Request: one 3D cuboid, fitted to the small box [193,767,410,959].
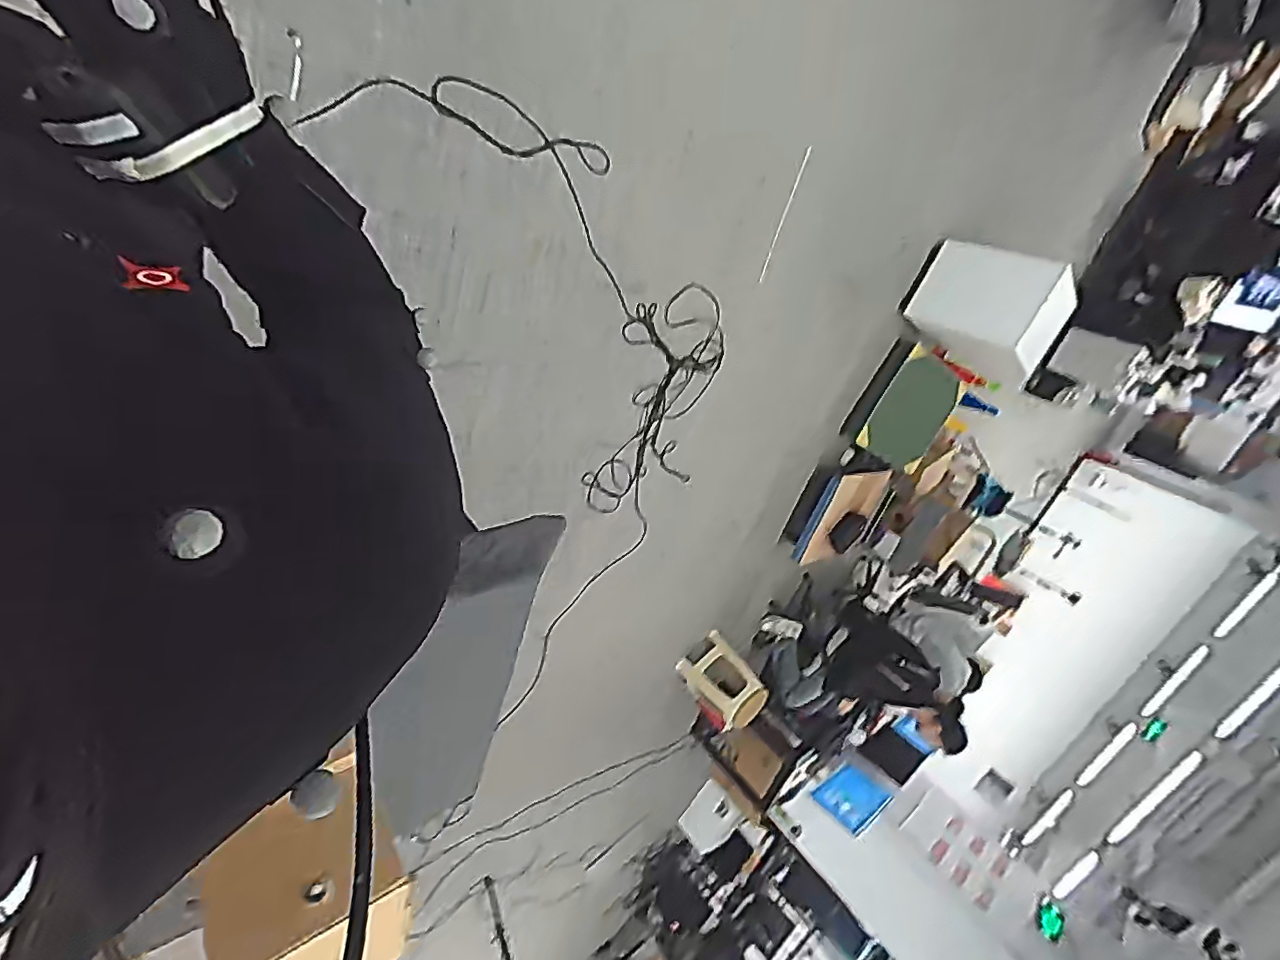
[{"bbox_3d":[-0.385,0.475,0.620,0.179,0.176,0.168,-9,125,-40],"label":"small box"}]
